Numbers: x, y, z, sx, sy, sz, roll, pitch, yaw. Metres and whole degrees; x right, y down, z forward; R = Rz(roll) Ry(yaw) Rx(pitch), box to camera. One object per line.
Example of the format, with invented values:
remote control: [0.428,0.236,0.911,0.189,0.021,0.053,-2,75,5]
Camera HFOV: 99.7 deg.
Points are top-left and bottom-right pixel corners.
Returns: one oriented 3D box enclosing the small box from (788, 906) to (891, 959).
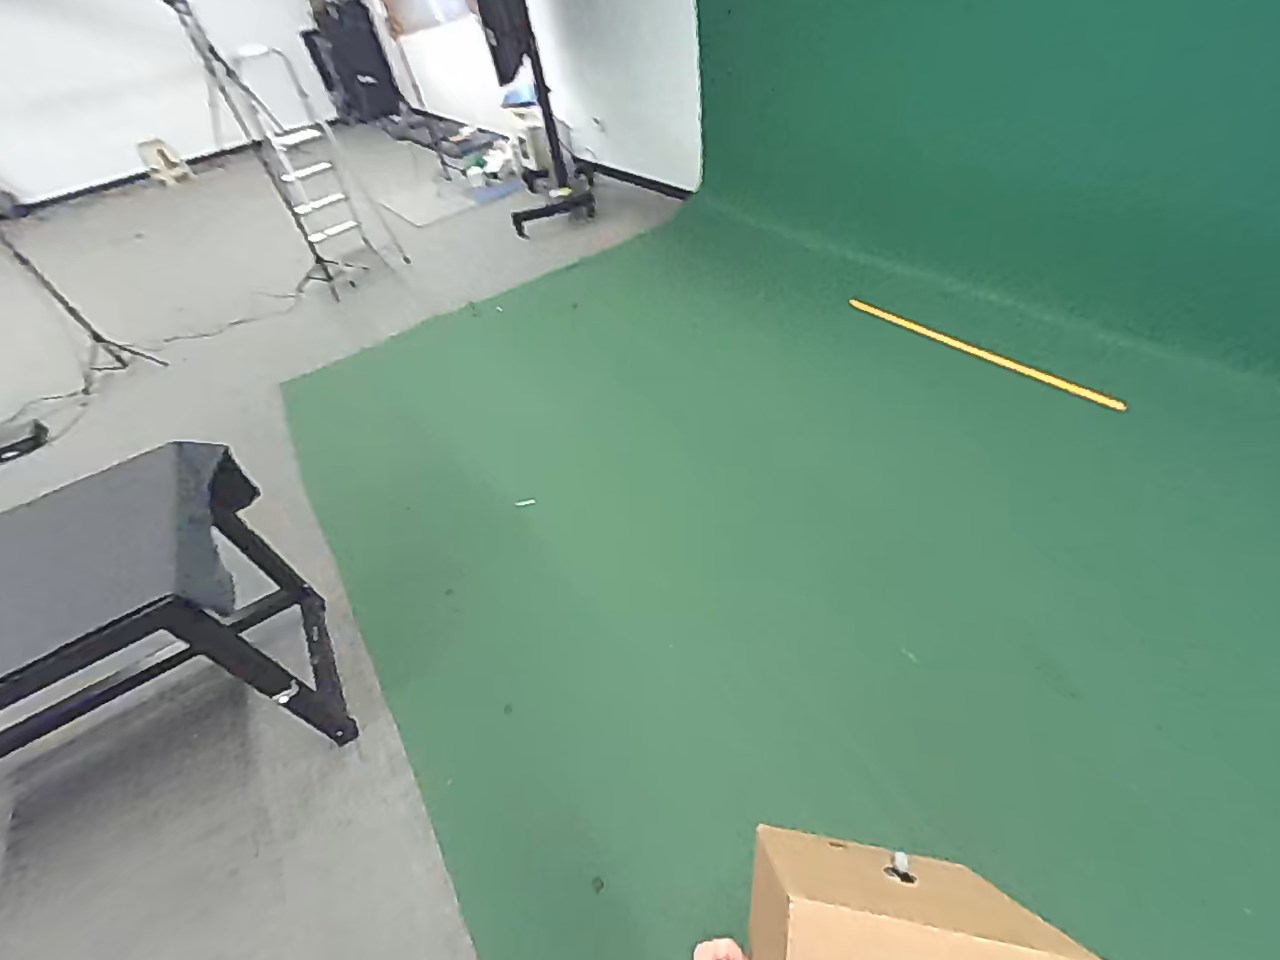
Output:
small box: [0.324,0.835,0.866,0.179,0.176,0.168,-30,48,-18]
